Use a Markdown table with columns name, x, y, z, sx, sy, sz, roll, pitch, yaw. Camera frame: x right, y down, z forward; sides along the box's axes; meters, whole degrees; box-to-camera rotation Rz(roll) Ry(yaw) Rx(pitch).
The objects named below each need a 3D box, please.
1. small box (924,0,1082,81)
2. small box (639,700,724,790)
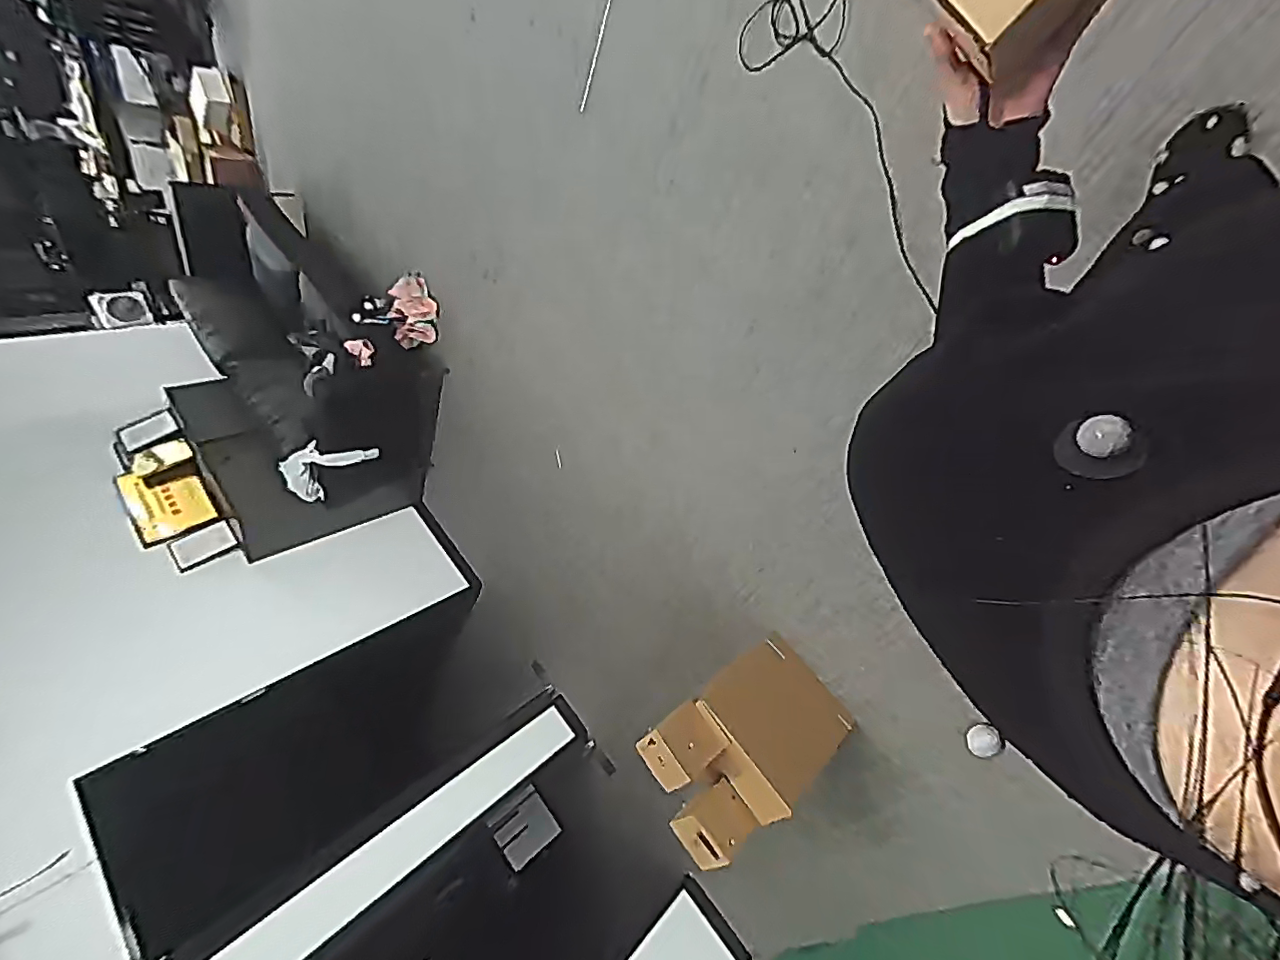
| name | x | y | z | sx | sy | sz | roll | pitch | yaw |
| --- | --- | --- | --- | --- | --- | --- | --- | --- | --- |
| small box | 0.250 | -0.404 | 0.335 | 0.179 | 0.168 | 0.176 | 52 | 132 | 2 |
| small box | 0.135 | 0.840 | 1.721 | 0.179 | 0.176 | 0.168 | 50 | 134 | 17 |
